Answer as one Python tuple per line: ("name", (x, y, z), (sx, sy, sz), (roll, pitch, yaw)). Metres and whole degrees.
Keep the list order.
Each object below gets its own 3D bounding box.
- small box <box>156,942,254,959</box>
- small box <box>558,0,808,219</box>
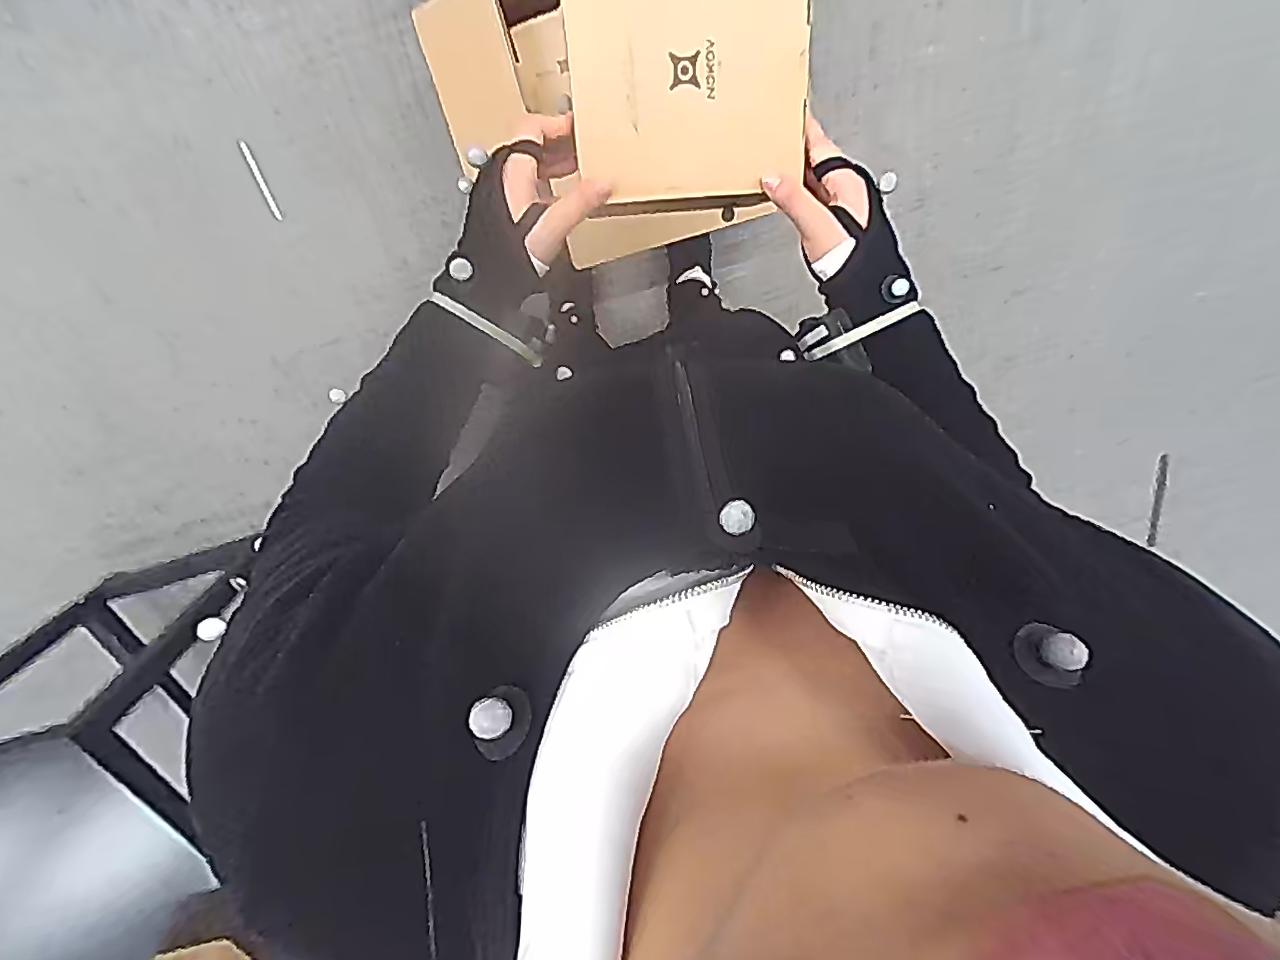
("small box", (-0.924, 1.092, 1.114), (0.168, 0.176, 0.179), (-14, 116, 2))
("small box", (0.029, -0.325, 0.462), (0.179, 0.176, 0.168), (-6, 112, -1))
